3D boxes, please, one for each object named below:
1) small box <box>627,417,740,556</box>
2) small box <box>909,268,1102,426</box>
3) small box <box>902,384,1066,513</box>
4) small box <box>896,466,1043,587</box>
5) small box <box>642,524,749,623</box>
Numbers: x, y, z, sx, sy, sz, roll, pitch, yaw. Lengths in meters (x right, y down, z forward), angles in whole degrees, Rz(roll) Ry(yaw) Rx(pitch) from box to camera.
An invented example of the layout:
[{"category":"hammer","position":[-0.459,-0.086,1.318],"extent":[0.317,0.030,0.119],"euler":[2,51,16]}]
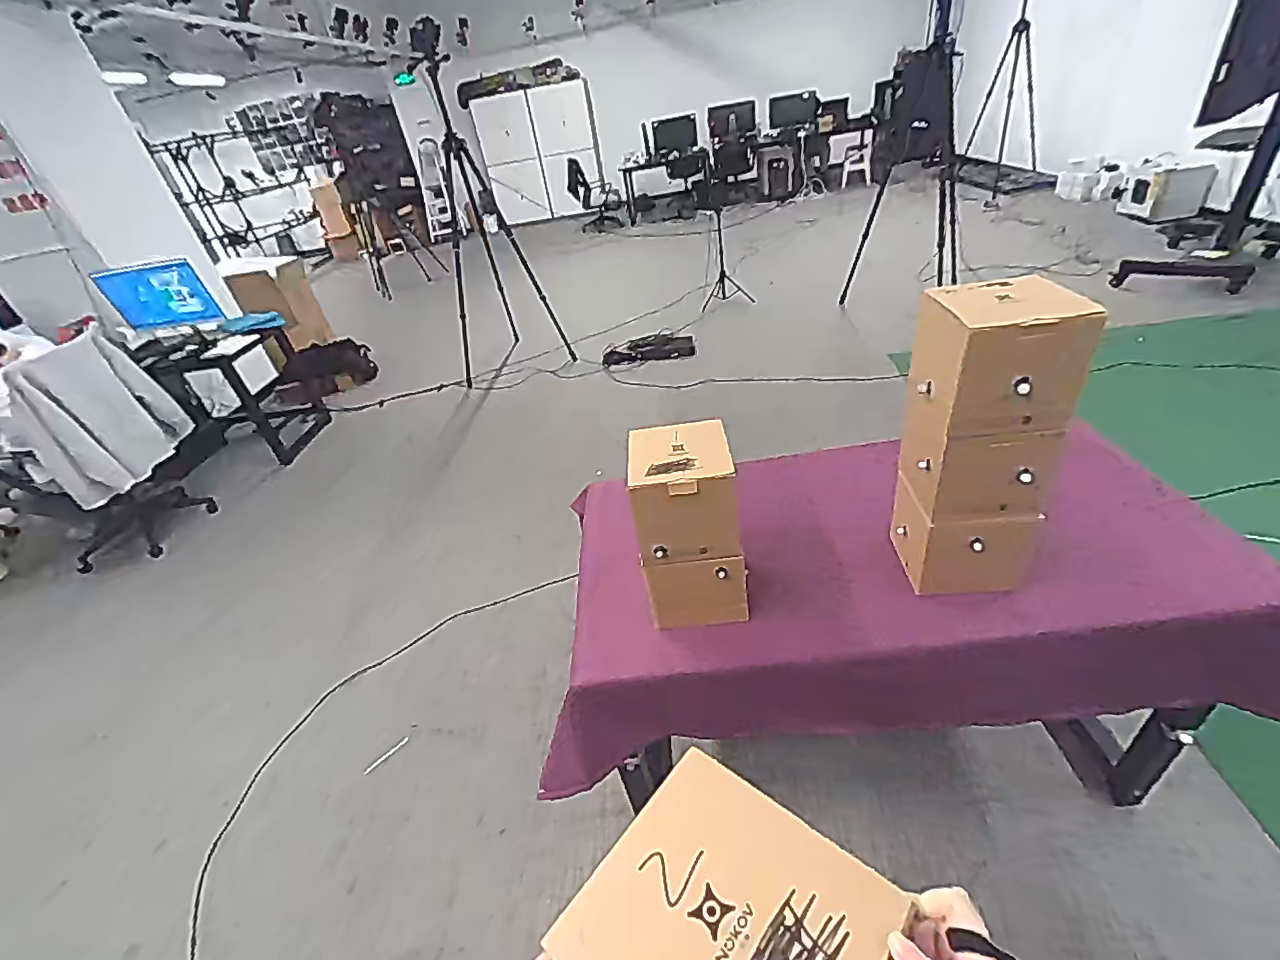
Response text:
[{"category":"small box","position":[0.075,0.016,0.928],"extent":[0.168,0.176,0.179],"euler":[-8,34,5]},{"category":"small box","position":[0.514,-0.189,0.793],"extent":[0.168,0.176,0.179],"euler":[-5,36,8]},{"category":"small box","position":[0.546,-0.058,0.887],"extent":[0.168,0.176,0.179],"euler":[-5,35,10]},{"category":"small box","position":[0.574,0.078,0.973],"extent":[0.179,0.176,0.168],"euler":[-5,36,10]},{"category":"small box","position":[0.104,0.151,1.018],"extent":[0.179,0.176,0.168],"euler":[-7,35,6]}]
